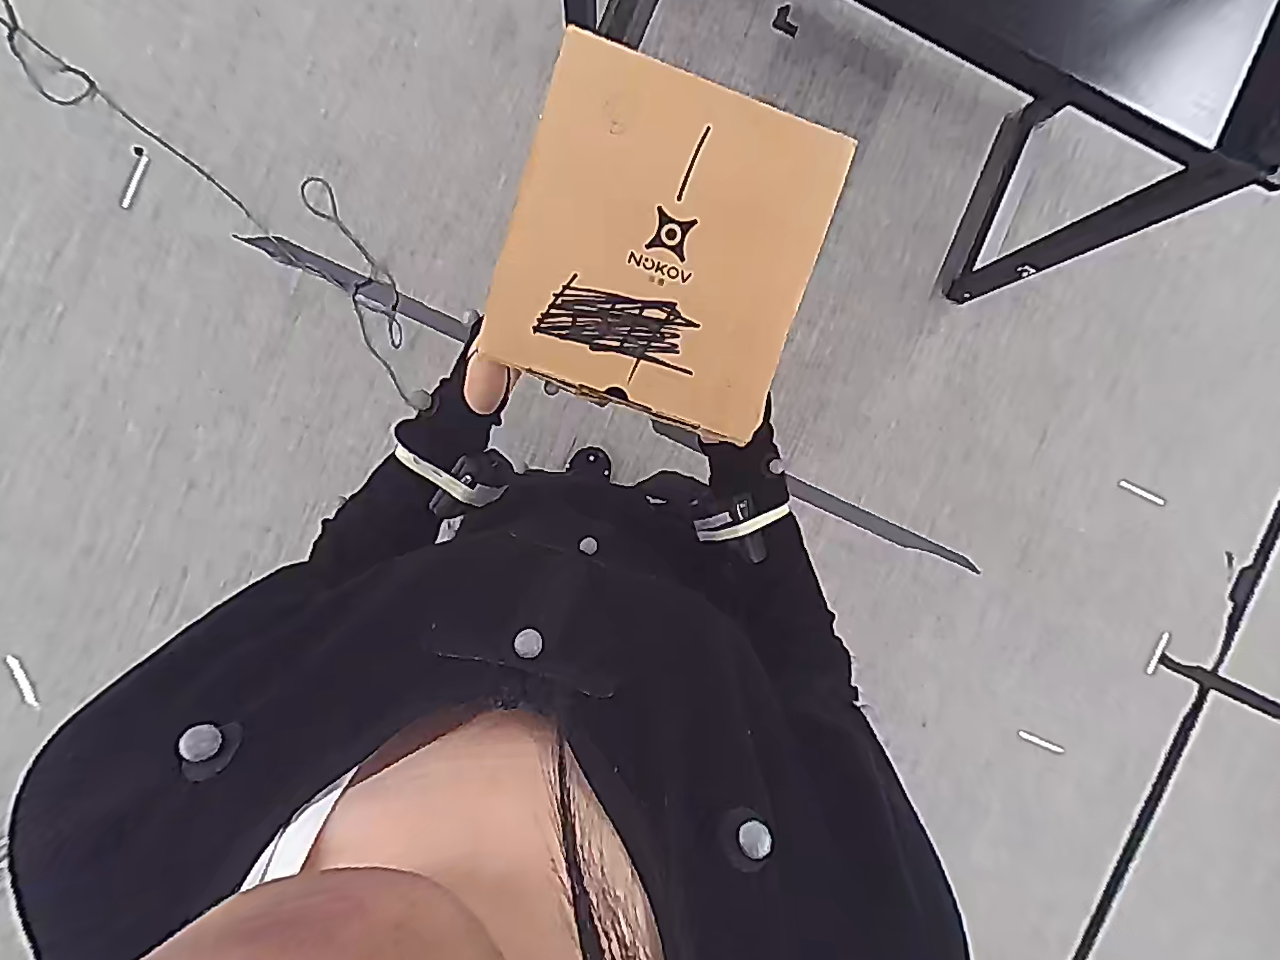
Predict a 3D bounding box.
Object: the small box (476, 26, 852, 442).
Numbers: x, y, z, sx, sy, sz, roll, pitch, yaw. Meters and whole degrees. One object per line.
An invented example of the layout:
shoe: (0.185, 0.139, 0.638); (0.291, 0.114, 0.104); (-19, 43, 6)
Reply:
small box: (0.008, -0.140, 0.374); (0.168, 0.176, 0.179); (18, 98, -6)
